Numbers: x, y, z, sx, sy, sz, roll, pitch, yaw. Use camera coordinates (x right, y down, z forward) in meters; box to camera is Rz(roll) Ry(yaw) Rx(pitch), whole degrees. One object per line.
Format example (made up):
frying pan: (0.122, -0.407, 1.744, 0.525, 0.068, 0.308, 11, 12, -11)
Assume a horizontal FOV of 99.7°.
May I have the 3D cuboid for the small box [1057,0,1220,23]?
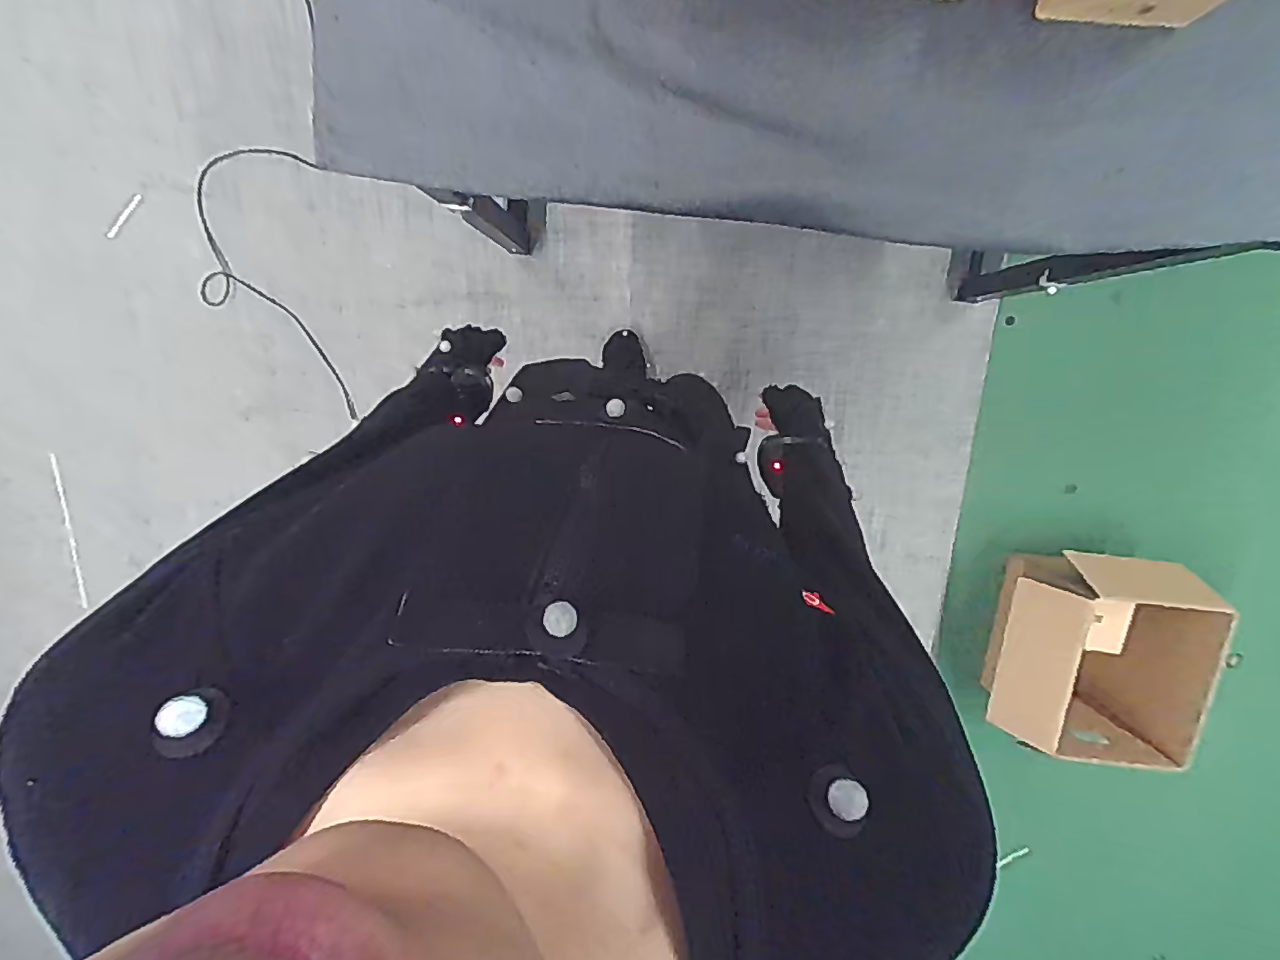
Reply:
small box: (0.523, -0.567, 0.496, 0.168, 0.176, 0.179, 5, 103, 1)
